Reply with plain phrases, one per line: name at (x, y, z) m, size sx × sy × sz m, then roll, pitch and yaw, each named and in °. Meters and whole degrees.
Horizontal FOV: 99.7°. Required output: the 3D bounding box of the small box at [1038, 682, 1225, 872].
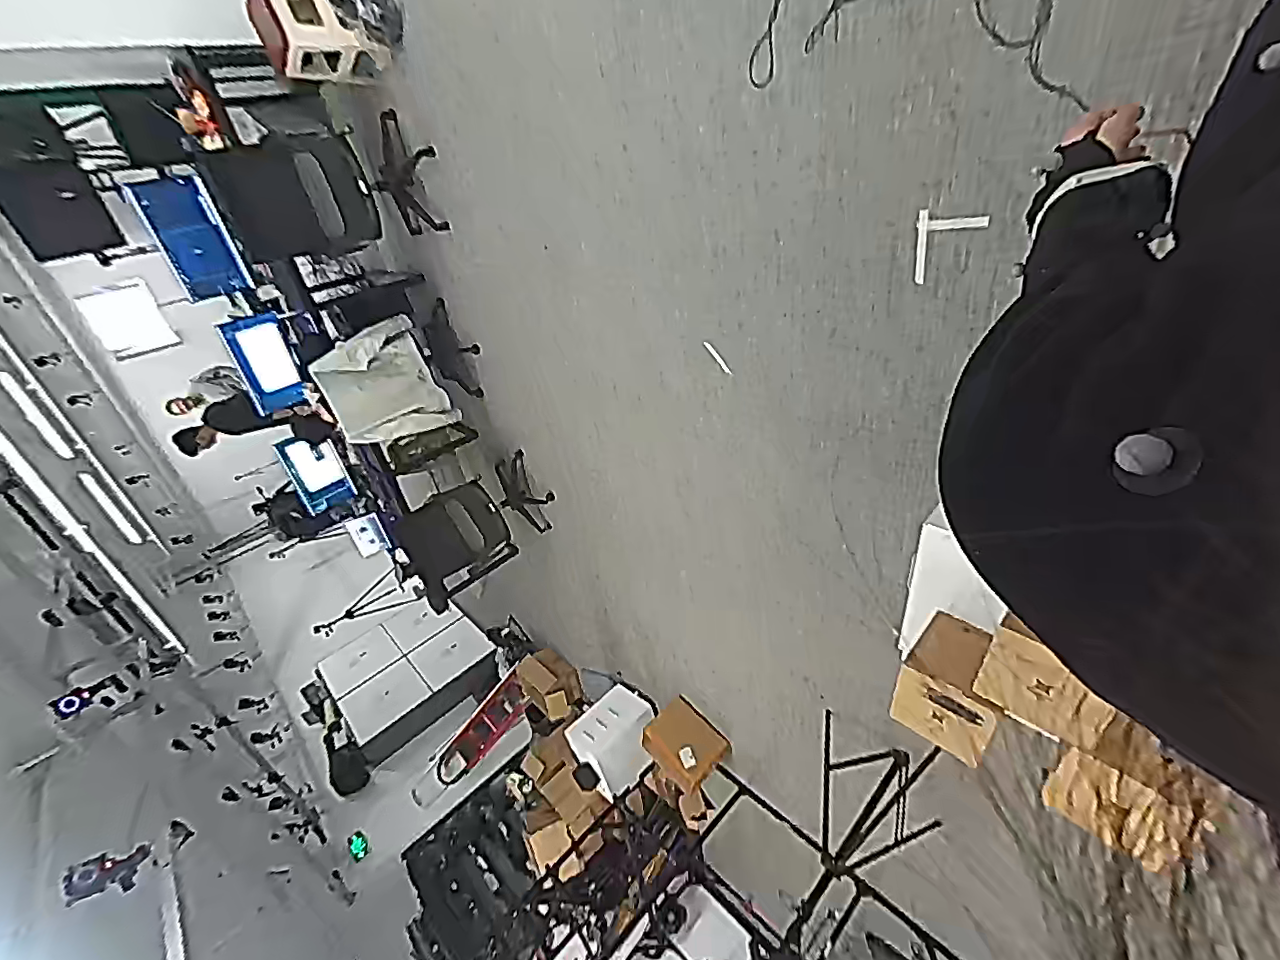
small box at (0.786, 0.465, 0.869) m, size 0.168 × 0.176 × 0.179 m, roll 28°, pitch 138°, yaw 39°
